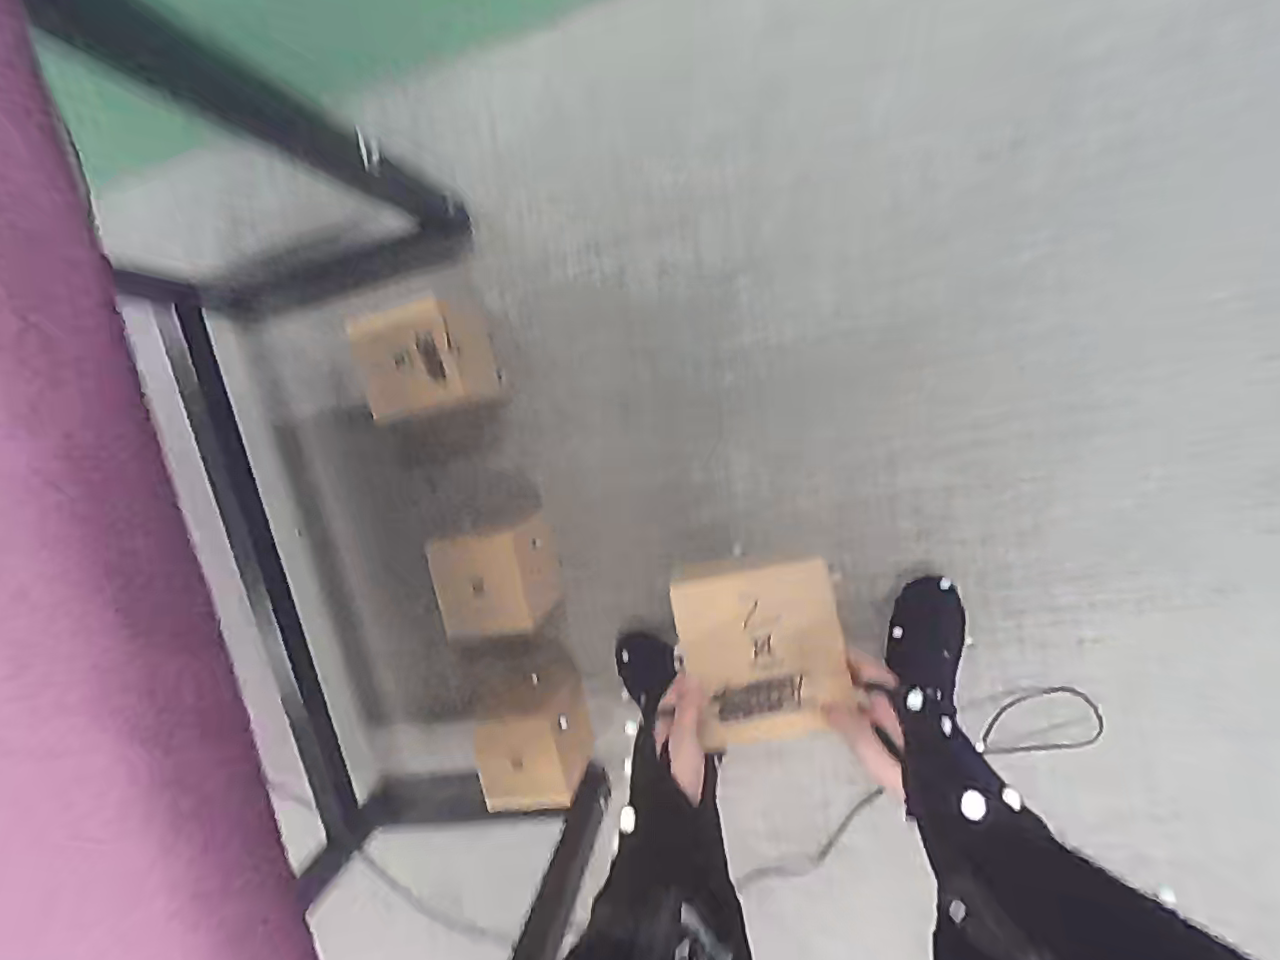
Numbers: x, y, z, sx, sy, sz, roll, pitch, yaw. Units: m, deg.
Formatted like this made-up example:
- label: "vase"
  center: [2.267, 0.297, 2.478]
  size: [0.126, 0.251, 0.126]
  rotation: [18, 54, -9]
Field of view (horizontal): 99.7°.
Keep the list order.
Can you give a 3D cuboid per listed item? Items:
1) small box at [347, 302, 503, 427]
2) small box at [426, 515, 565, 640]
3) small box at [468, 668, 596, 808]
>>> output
- label: "small box"
  center: [-0.360, -0.198, 0.947]
  size: [0.179, 0.176, 0.168]
  rotation: [-14, 96, 15]
- label: "small box"
  center: [-0.254, 0.169, 0.990]
  size: [0.168, 0.176, 0.179]
  rotation: [-10, 98, 14]
- label: "small box"
  center: [-0.196, 0.487, 1.033]
  size: [0.168, 0.176, 0.179]
  rotation: [-11, 96, 13]
